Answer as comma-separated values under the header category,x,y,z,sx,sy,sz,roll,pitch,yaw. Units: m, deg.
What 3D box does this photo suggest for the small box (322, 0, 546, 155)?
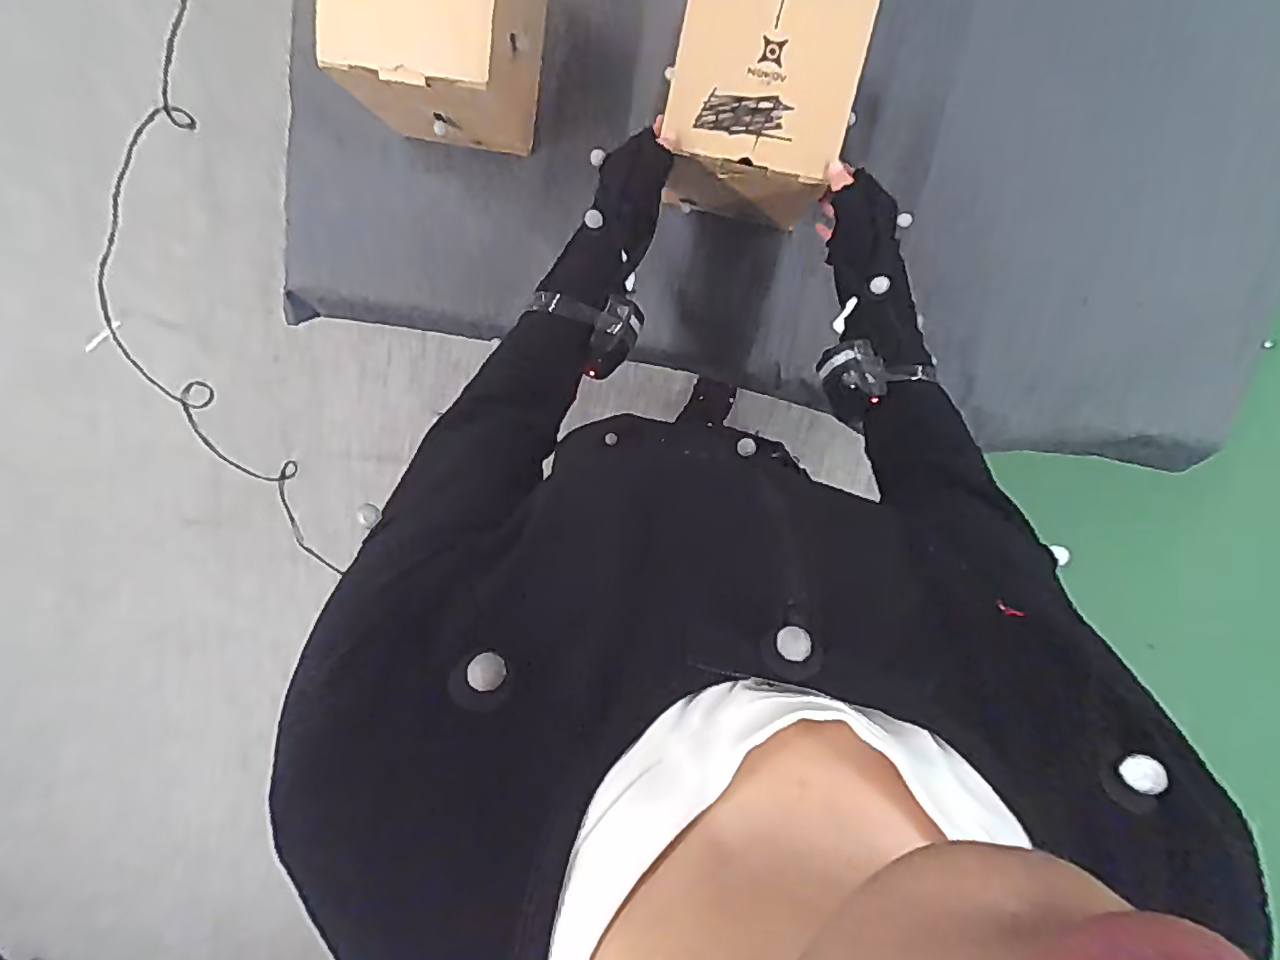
category,x,y,z,sx,sy,sz,roll,pitch,yaw
small box,-0.204,-0.473,0.572,0.168,0.176,0.179,9,103,2

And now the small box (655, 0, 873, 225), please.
category,x,y,z,sx,sy,sz,roll,pitch,yaw
small box,0.117,-0.389,0.567,0.168,0.176,0.179,12,101,1
